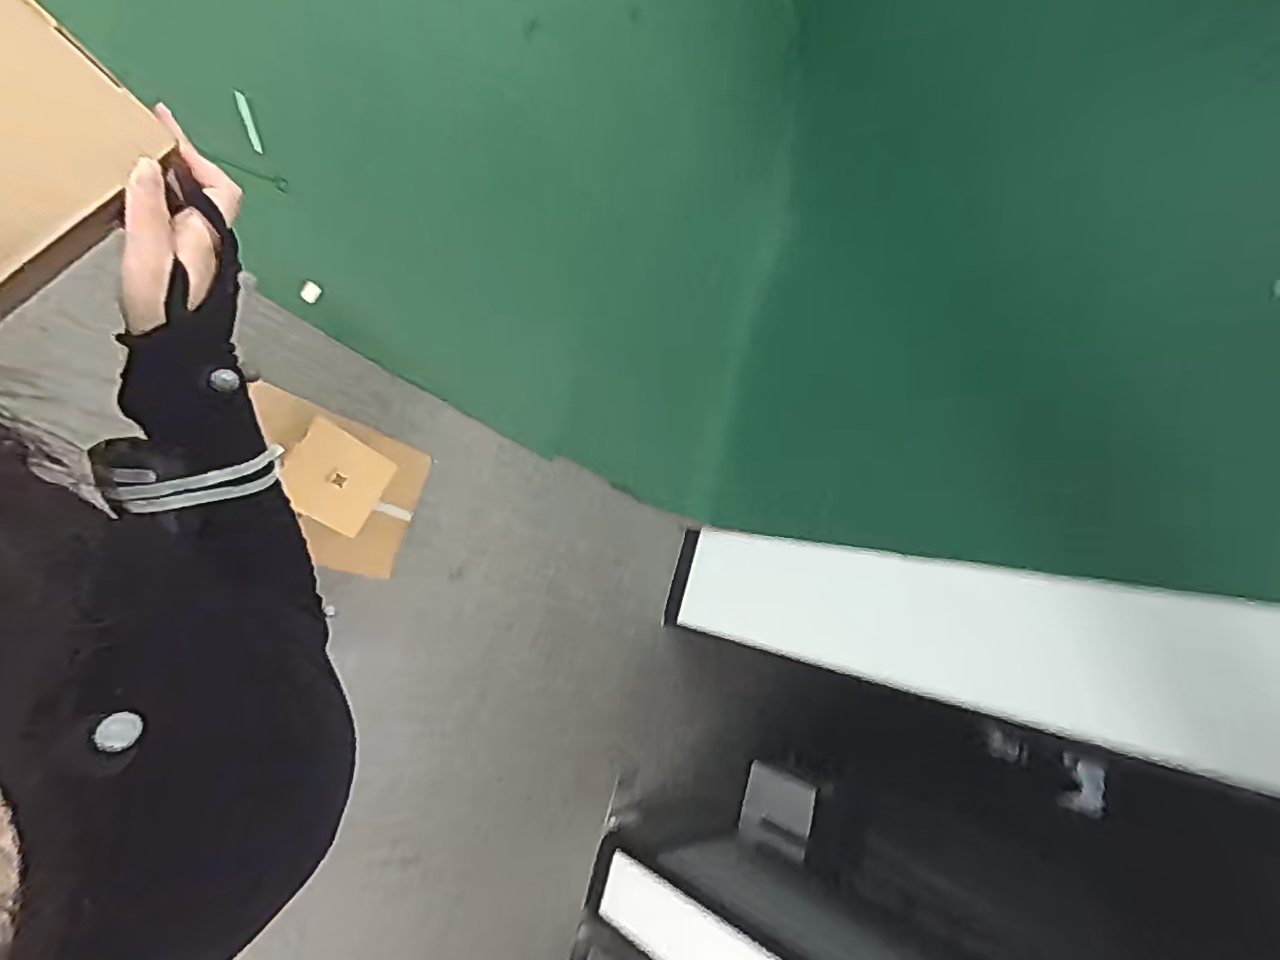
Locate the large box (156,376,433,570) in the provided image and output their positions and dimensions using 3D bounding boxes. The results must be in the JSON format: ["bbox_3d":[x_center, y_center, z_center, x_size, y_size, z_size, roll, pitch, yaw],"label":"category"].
[{"bbox_3d":[-0.780,-0.005,1.248,0.408,0.320,0.320,32,70,-48],"label":"large box"}]

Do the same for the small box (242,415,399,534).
[{"bbox_3d":[-0.621,-0.014,1.055,0.179,0.176,0.168,45,59,-42],"label":"small box"}]
